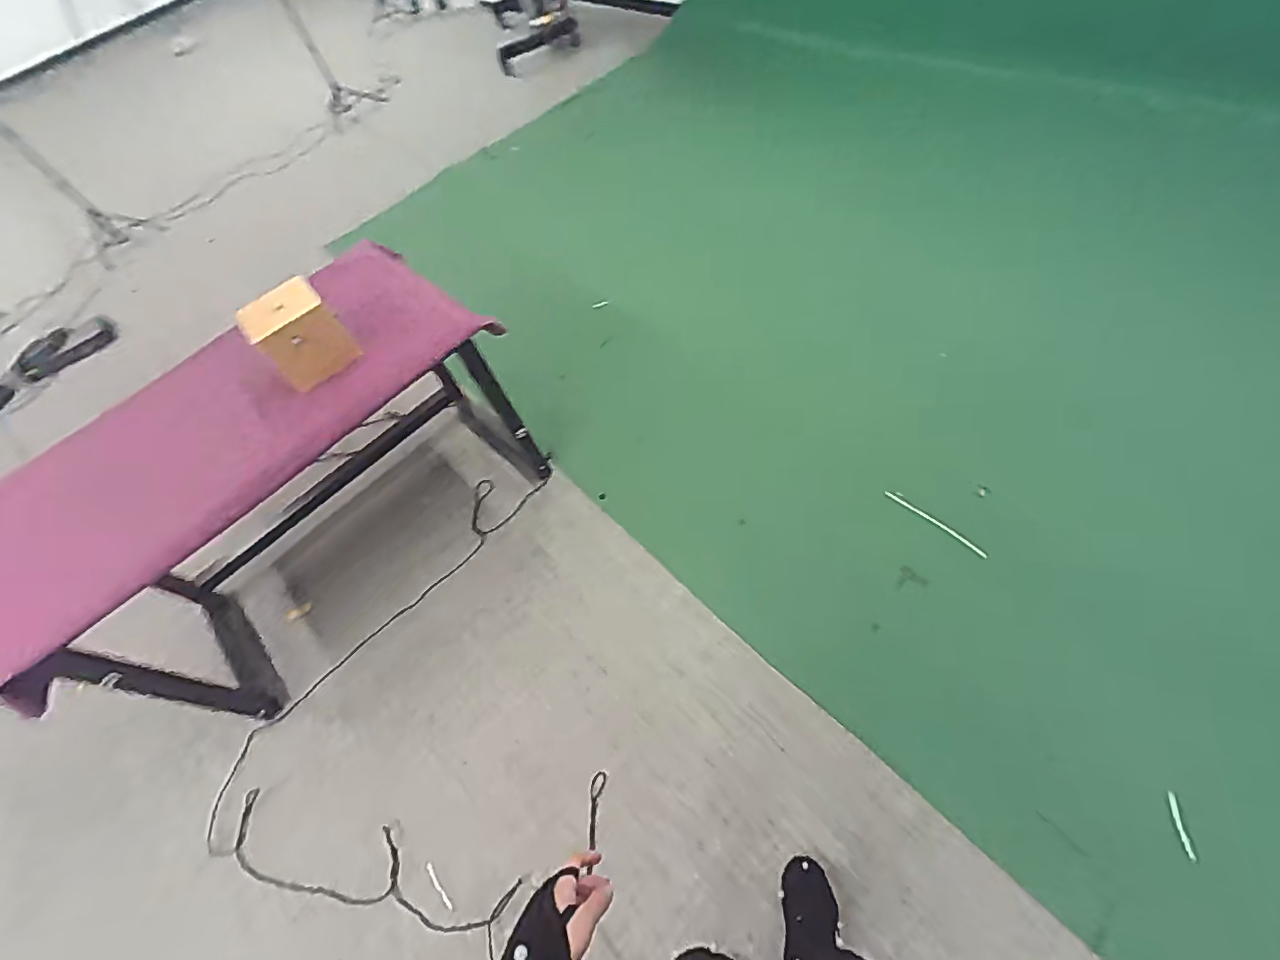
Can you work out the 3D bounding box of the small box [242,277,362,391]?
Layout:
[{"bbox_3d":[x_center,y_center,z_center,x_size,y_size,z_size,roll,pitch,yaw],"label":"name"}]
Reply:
[{"bbox_3d":[-0.818,-0.355,1.329,0.179,0.176,0.168,-38,59,-12],"label":"small box"}]
